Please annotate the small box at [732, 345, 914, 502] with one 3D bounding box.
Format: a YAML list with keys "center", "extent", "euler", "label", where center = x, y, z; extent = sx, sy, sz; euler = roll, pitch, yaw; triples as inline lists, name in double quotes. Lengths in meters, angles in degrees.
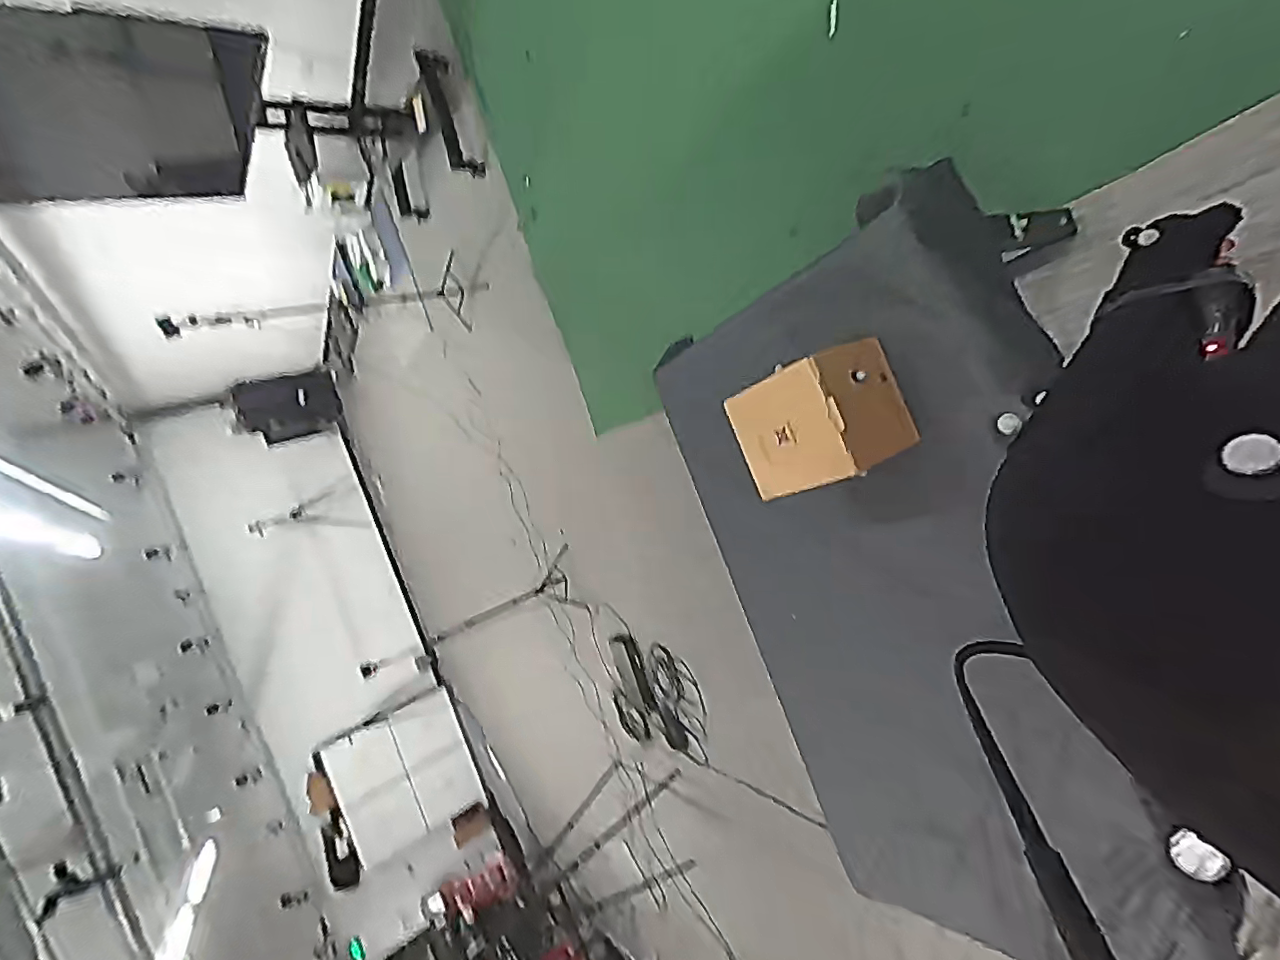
- center: [0.277, -0.084, 0.809]
  extent: [0.179, 0.176, 0.168]
  euler: [-27, 85, 58]
  label: "small box"
